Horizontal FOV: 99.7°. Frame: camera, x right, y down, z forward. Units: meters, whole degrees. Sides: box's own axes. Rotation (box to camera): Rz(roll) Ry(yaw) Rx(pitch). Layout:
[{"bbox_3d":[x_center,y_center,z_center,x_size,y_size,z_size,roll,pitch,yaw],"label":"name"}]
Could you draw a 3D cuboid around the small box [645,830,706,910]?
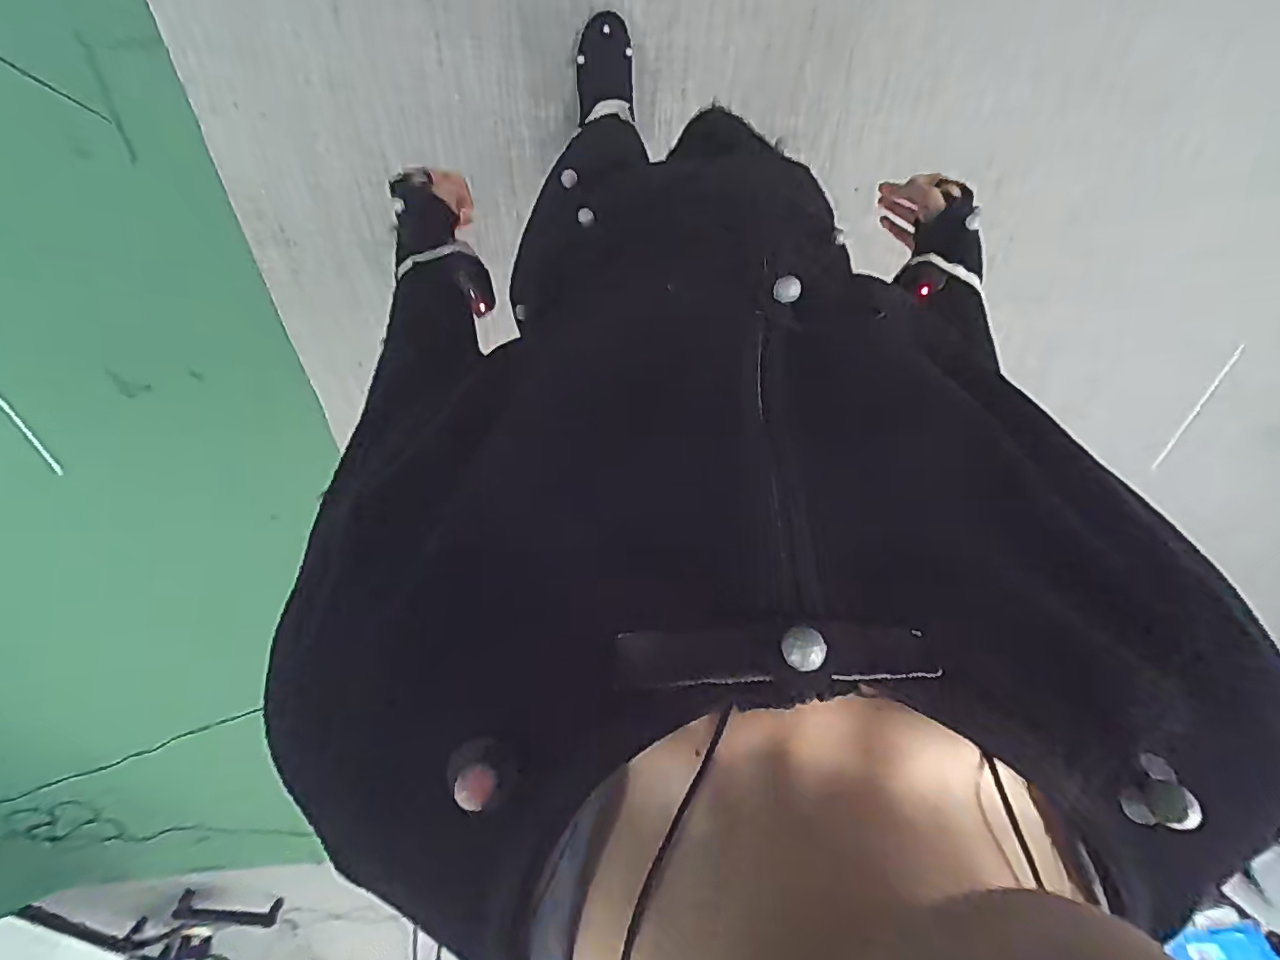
[{"bbox_3d":[0.108,1.248,1.740,0.168,0.176,0.179,-1,129,-6],"label":"small box"}]
